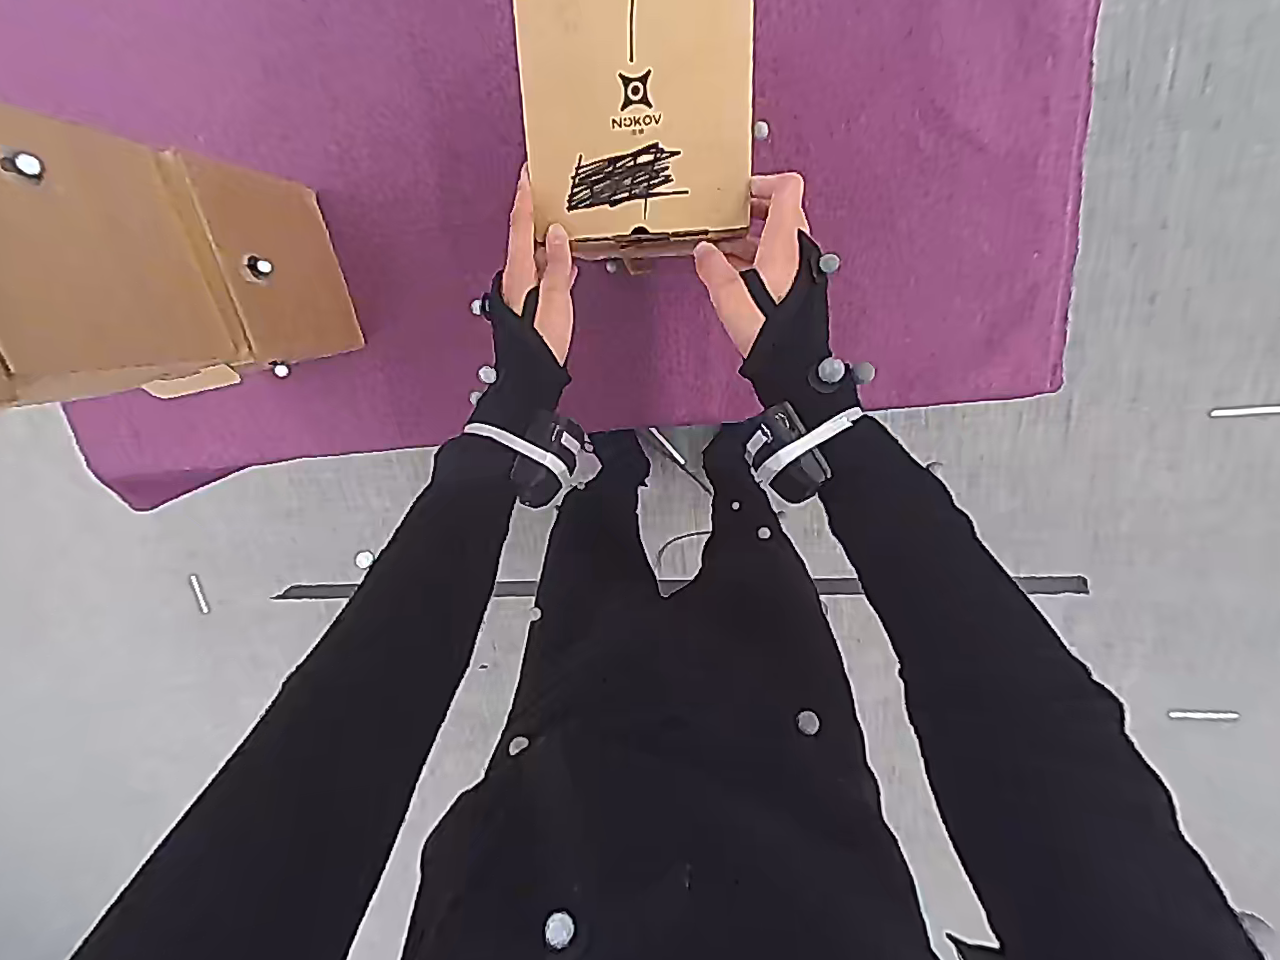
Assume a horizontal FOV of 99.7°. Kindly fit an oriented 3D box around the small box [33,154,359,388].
[{"bbox_3d":[-0.430,-0.205,0.560,0.168,0.176,0.179,-8,107,11],"label":"small box"}]
